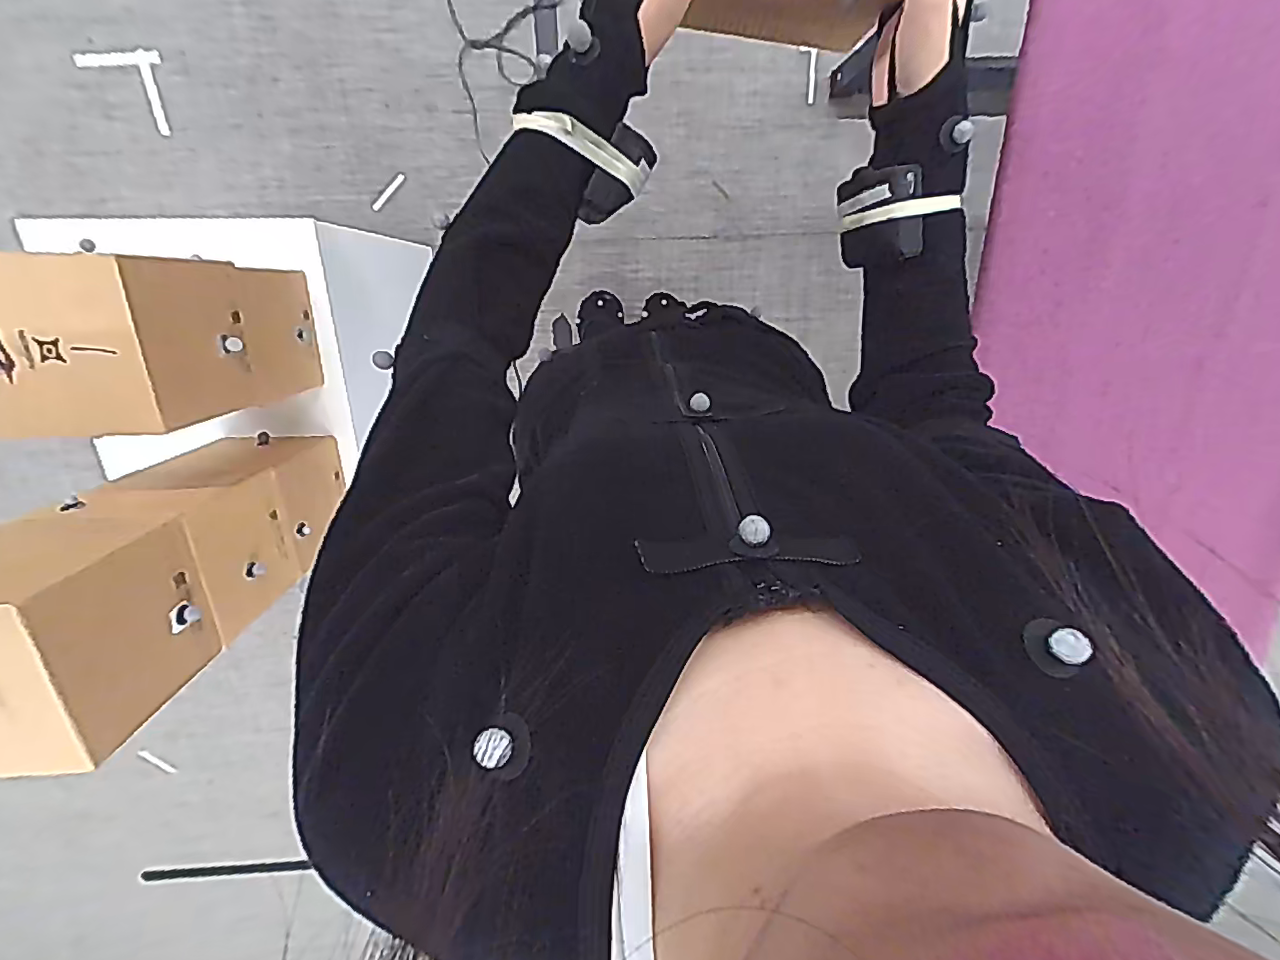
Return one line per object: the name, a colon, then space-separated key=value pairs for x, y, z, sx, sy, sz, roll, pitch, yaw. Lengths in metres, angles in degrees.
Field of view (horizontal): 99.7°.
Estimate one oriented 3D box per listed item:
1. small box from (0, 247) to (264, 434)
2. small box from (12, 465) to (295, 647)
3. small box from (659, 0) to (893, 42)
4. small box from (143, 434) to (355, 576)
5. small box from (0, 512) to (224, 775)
small box: x=-0.542 y=-0.148 z=0.562 sx=0.179 sy=0.176 sz=0.168 roll=0 pitch=111 yaw=-5
small box: x=-0.548 y=0.084 z=0.647 sx=0.179 sy=0.176 sz=0.168 roll=-2 pitch=110 yaw=-2
small box: x=0.111 y=-0.428 z=0.359 sx=0.179 sy=0.176 sz=0.168 roll=6 pitch=110 yaw=-3
small box: x=-0.559 y=0.031 z=0.801 sx=0.179 sy=0.176 sz=0.168 roll=-1 pitch=109 yaw=-2
small box: x=-0.541 y=0.138 z=0.494 sx=0.179 sy=0.176 sz=0.168 roll=-3 pitch=111 yaw=-3
